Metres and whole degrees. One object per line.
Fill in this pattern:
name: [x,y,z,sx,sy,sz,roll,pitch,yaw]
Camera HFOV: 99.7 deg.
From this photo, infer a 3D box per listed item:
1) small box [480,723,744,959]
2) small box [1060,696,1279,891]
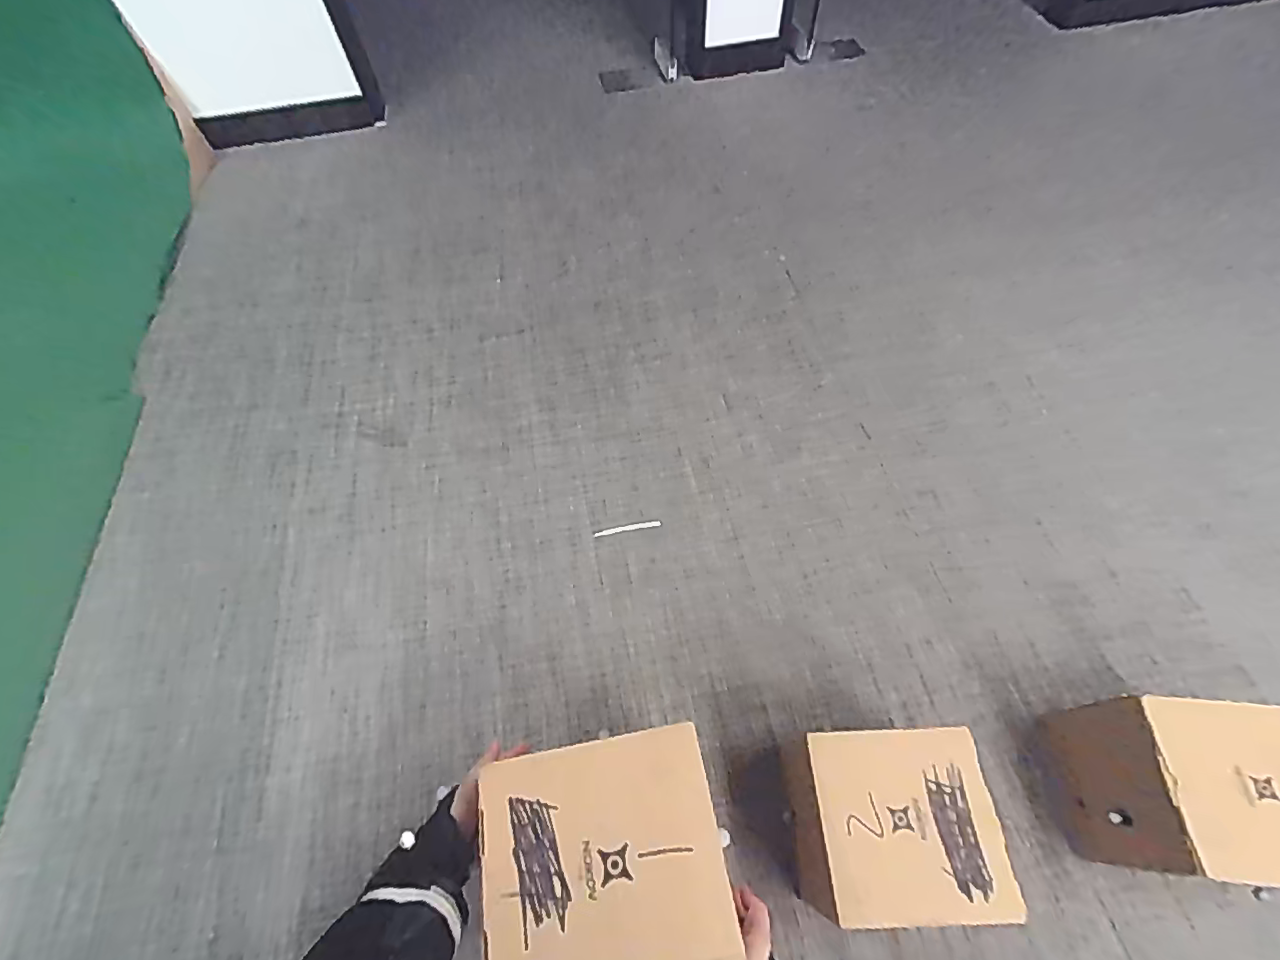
small box: [-0.024,0.319,0.457,0.179,0.176,0.168,-10,59,-5]
small box: [0.615,0.348,0.601,0.179,0.176,0.168,4,60,4]
